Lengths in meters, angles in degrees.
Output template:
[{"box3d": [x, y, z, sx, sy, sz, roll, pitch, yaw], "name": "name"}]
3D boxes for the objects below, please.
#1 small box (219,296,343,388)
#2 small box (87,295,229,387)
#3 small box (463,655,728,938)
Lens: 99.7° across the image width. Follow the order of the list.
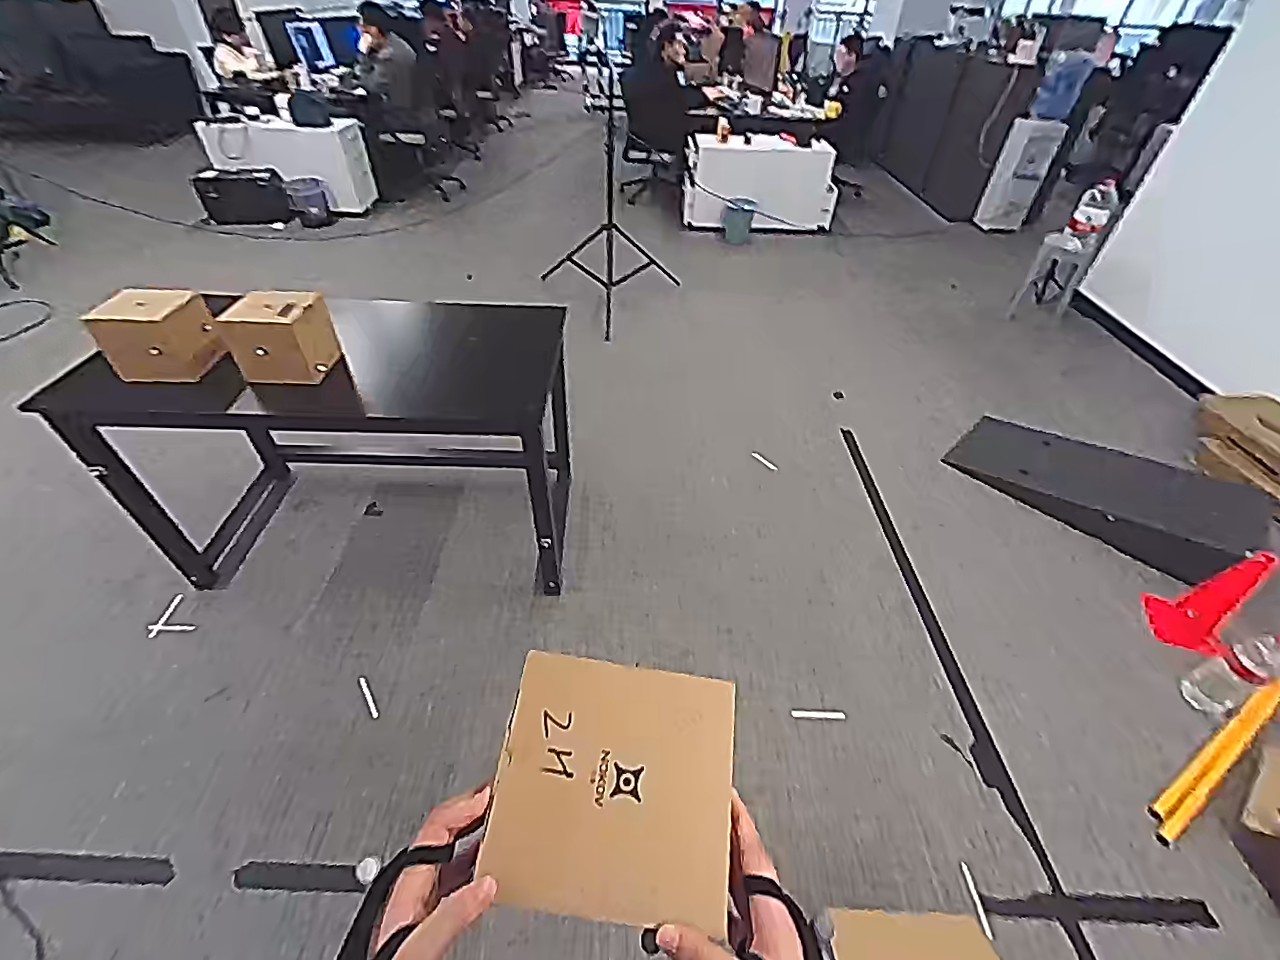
[{"box3d": [-0.887, -0.345, 1.360, 0.179, 0.176, 0.168, 1, 42, 0], "name": "small box"}, {"box3d": [-1.182, -0.343, 1.347, 0.179, 0.176, 0.168, -1, 42, -3], "name": "small box"}, {"box3d": [-0.030, 0.267, 0.468, 0.179, 0.176, 0.168, 8, 56, 0], "name": "small box"}]
